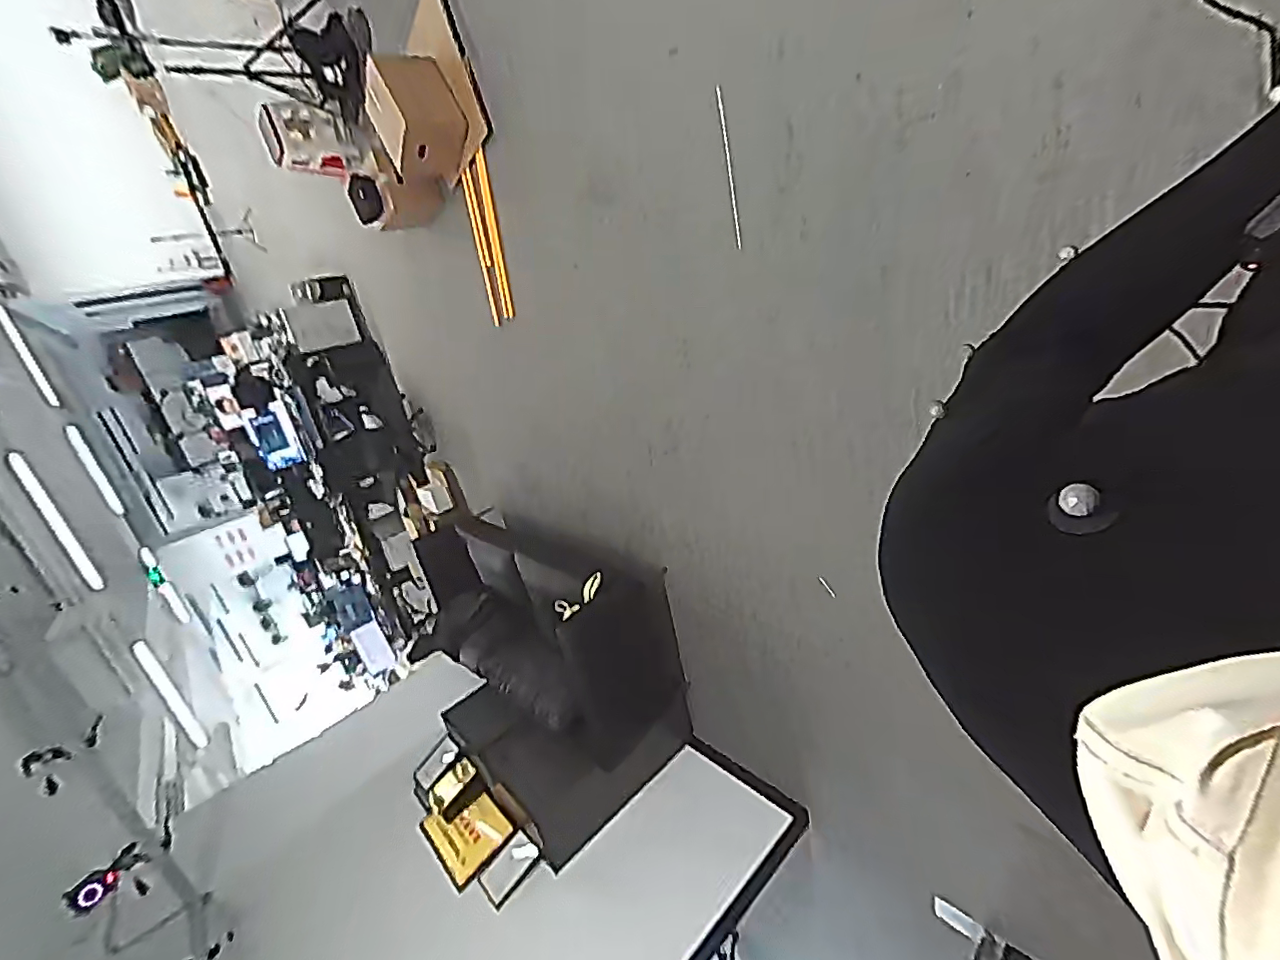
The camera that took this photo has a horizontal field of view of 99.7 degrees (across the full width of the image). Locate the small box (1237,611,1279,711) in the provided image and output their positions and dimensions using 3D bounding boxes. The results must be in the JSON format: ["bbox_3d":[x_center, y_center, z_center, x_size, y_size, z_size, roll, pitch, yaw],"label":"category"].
[{"bbox_3d":[1.380,0.405,1.113,0.168,0.176,0.179,16,124,44],"label":"small box"}]

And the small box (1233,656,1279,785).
[{"bbox_3d":[1.263,0.469,1.016,0.168,0.176,0.179,18,127,43],"label":"small box"}]
